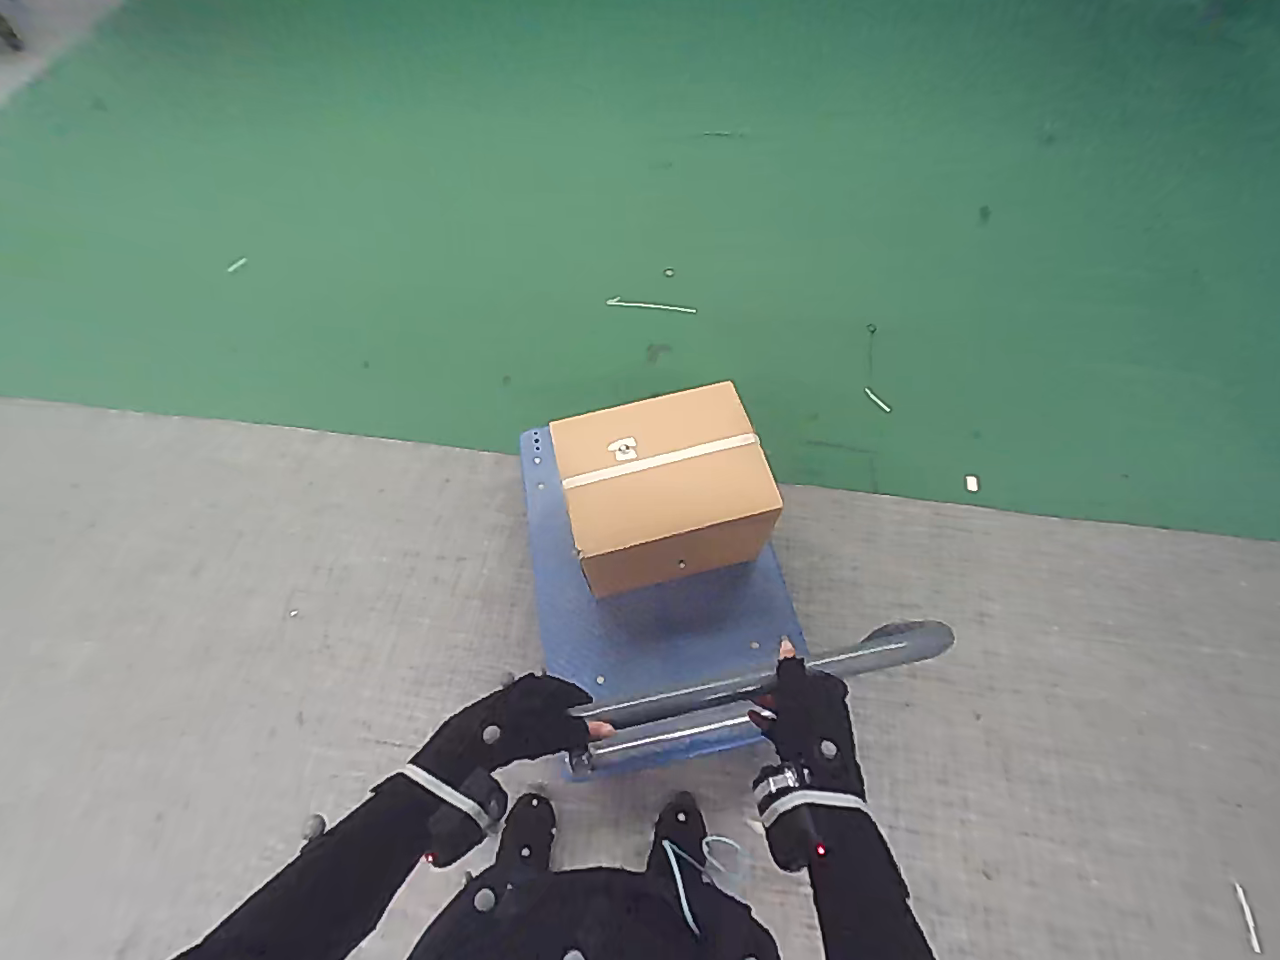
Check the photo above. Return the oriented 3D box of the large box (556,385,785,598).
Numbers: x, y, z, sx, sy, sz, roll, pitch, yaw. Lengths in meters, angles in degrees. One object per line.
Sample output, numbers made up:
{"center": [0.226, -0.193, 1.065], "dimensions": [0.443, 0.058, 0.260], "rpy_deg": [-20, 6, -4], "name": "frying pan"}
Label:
{"center": [0.058, 0.038, 1.225], "dimensions": [0.408, 0.320, 0.320], "rpy_deg": [-14, 63, -5], "name": "large box"}
